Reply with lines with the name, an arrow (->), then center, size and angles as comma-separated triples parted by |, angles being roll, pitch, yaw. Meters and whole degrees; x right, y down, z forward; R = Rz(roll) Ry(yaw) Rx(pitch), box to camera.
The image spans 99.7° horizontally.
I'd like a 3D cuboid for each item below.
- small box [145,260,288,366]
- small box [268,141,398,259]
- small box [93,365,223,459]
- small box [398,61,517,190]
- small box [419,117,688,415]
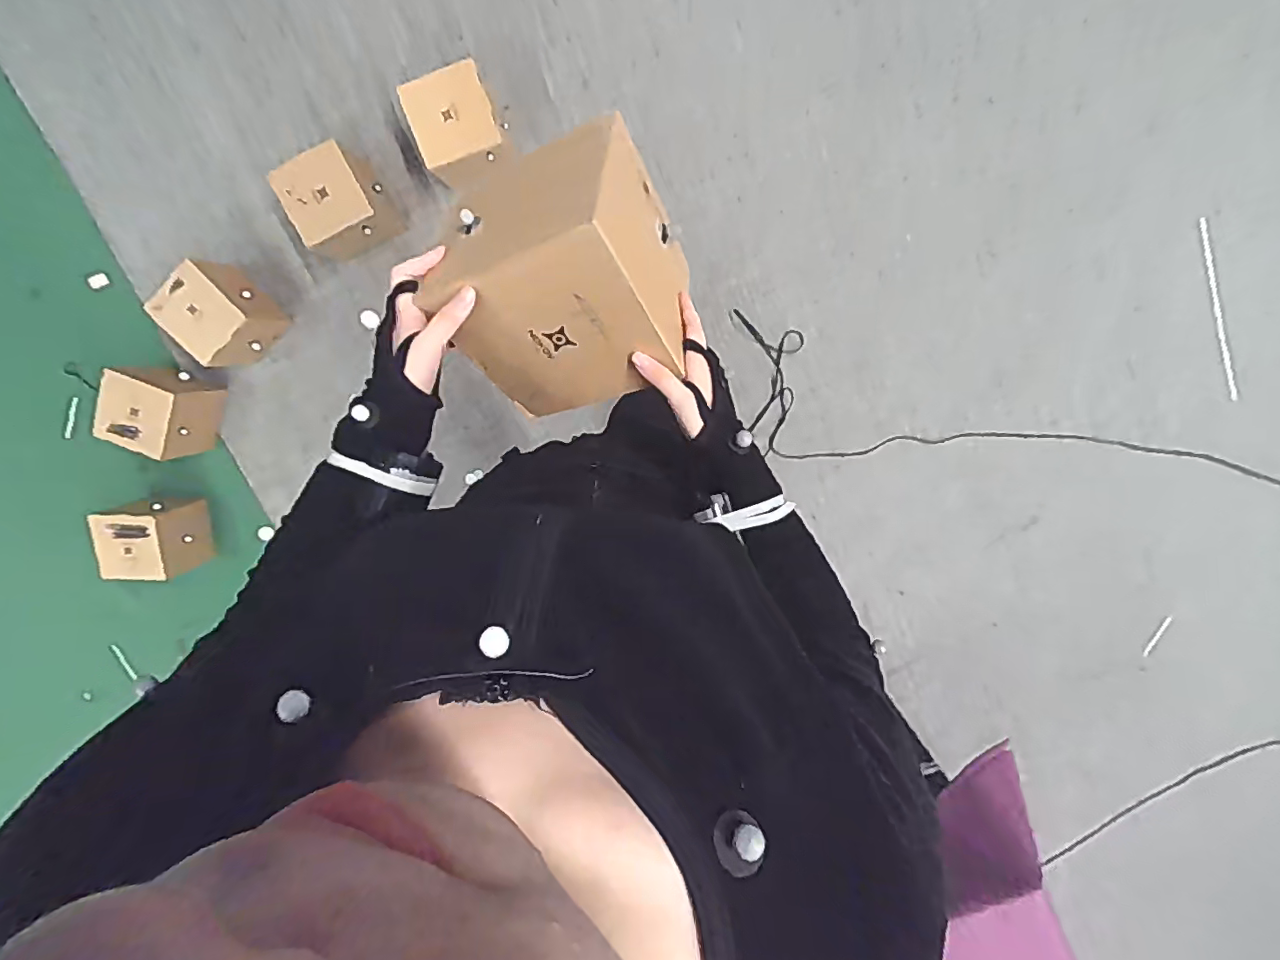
small box -> -1.005, -0.398, 1.302 | 0.168, 0.176, 0.179 | -40, 101, 9
small box -> -0.688, -0.632, 1.243 | 0.179, 0.176, 0.168 | -24, 102, 5
small box -> -1.198, -0.176, 1.356 | 0.168, 0.176, 0.179 | 22, 102, -5
small box -> -0.398, -0.778, 1.210 | 0.179, 0.176, 0.168 | -18, 103, 4
small box -> -0.064, -0.190, 0.506 | 0.179, 0.176, 0.168 | -11, 144, 23
